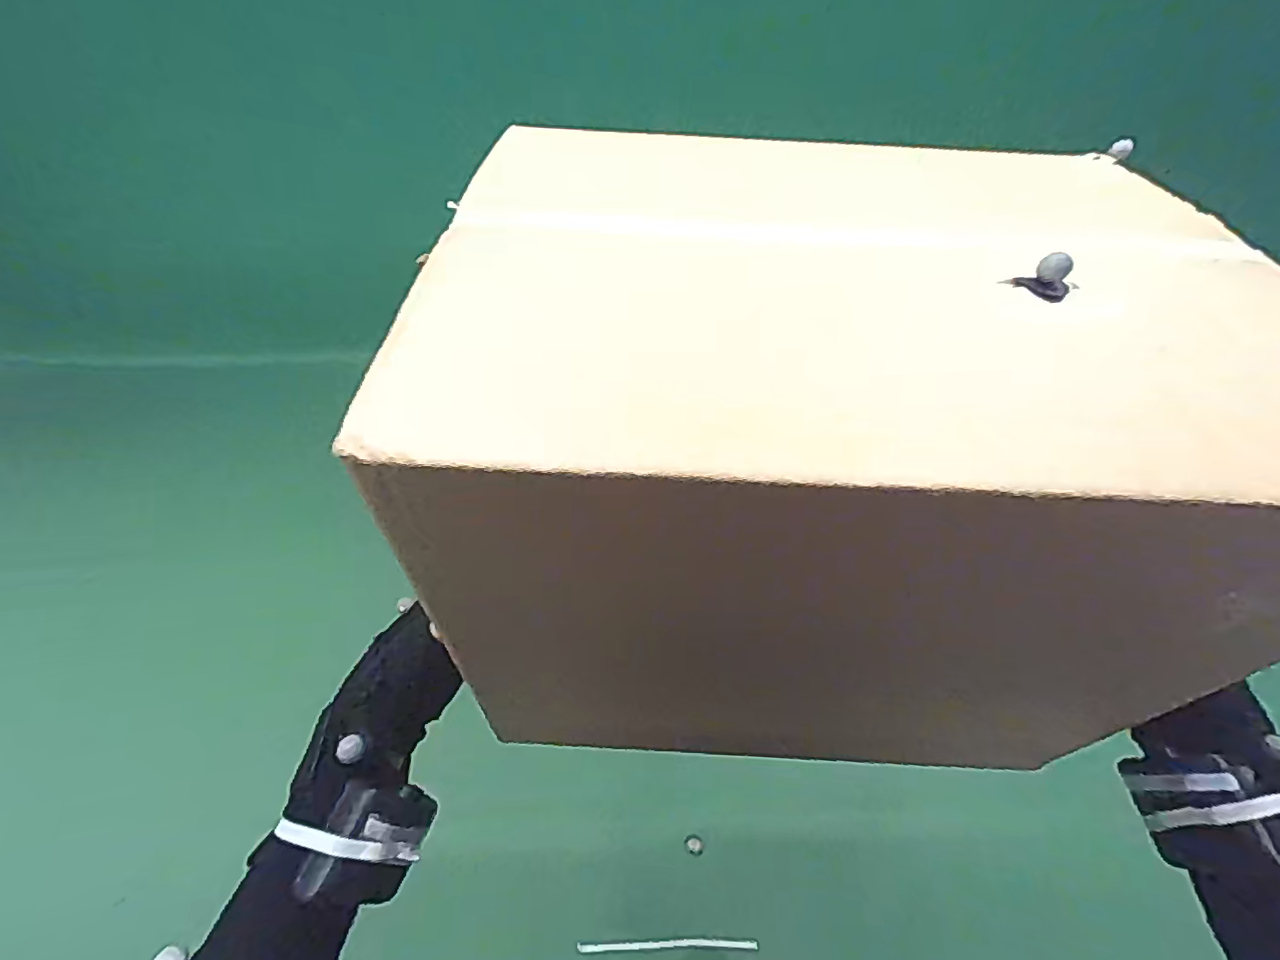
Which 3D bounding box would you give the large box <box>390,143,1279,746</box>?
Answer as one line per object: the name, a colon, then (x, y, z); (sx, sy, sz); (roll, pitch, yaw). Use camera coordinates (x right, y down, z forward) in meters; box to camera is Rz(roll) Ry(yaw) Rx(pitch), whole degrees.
large box: (0.106, -0.017, 0.396); (0.408, 0.320, 0.320); (3, 49, 0)
